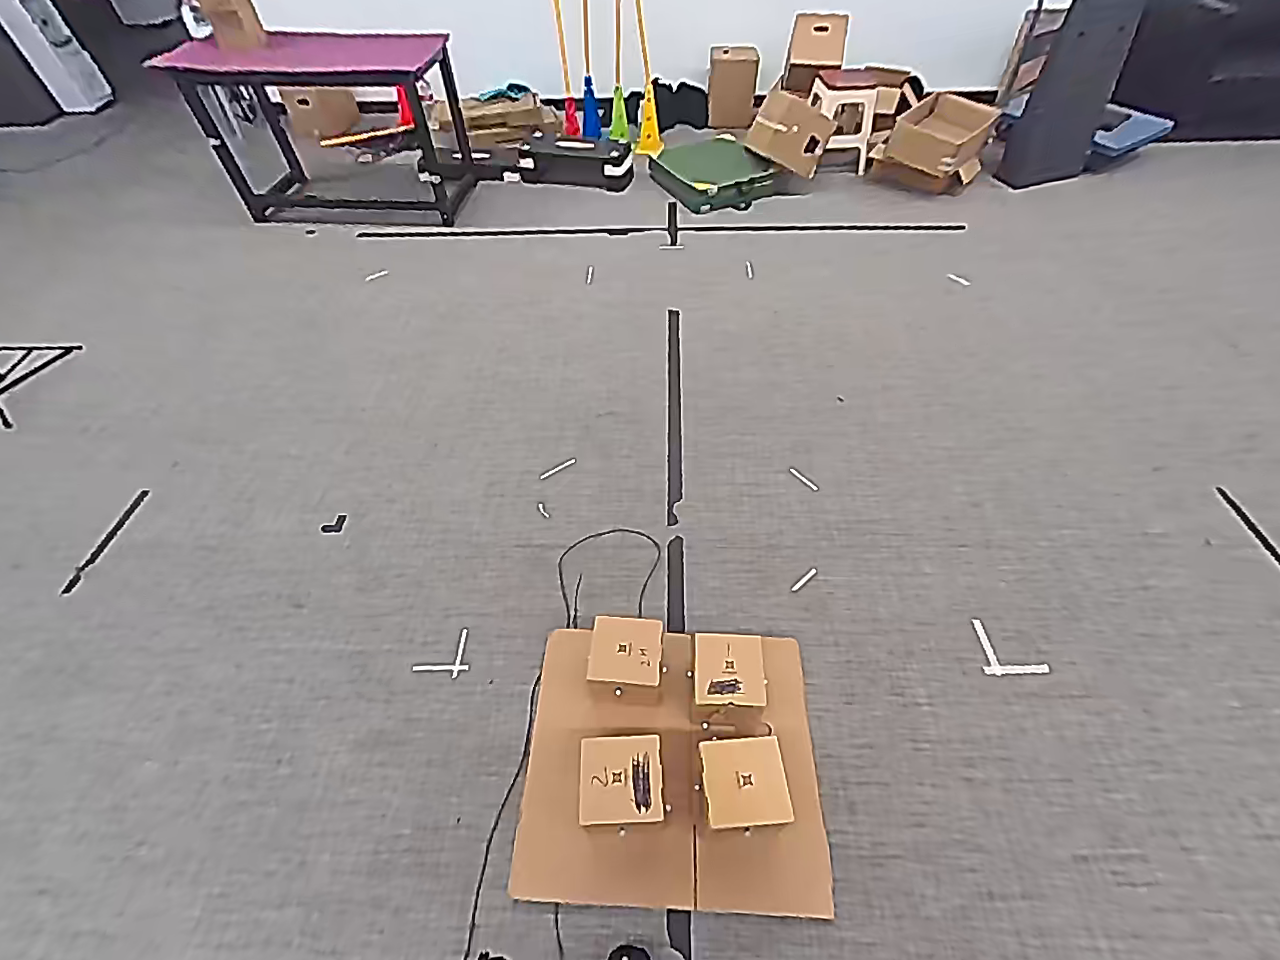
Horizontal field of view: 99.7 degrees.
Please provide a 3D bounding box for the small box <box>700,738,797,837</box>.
[{"bbox_3d":[0.233,0.688,1.207,0.179,0.176,0.168,-5,51,0],"label":"small box"}]

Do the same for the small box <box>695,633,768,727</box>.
[{"bbox_3d":[0.225,0.505,1.356,0.168,0.176,0.179,2,50,4],"label":"small box"}]

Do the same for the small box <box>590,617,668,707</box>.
[{"bbox_3d":[-0.023,0.469,1.388,0.179,0.176,0.168,4,51,5],"label":"small box"}]
